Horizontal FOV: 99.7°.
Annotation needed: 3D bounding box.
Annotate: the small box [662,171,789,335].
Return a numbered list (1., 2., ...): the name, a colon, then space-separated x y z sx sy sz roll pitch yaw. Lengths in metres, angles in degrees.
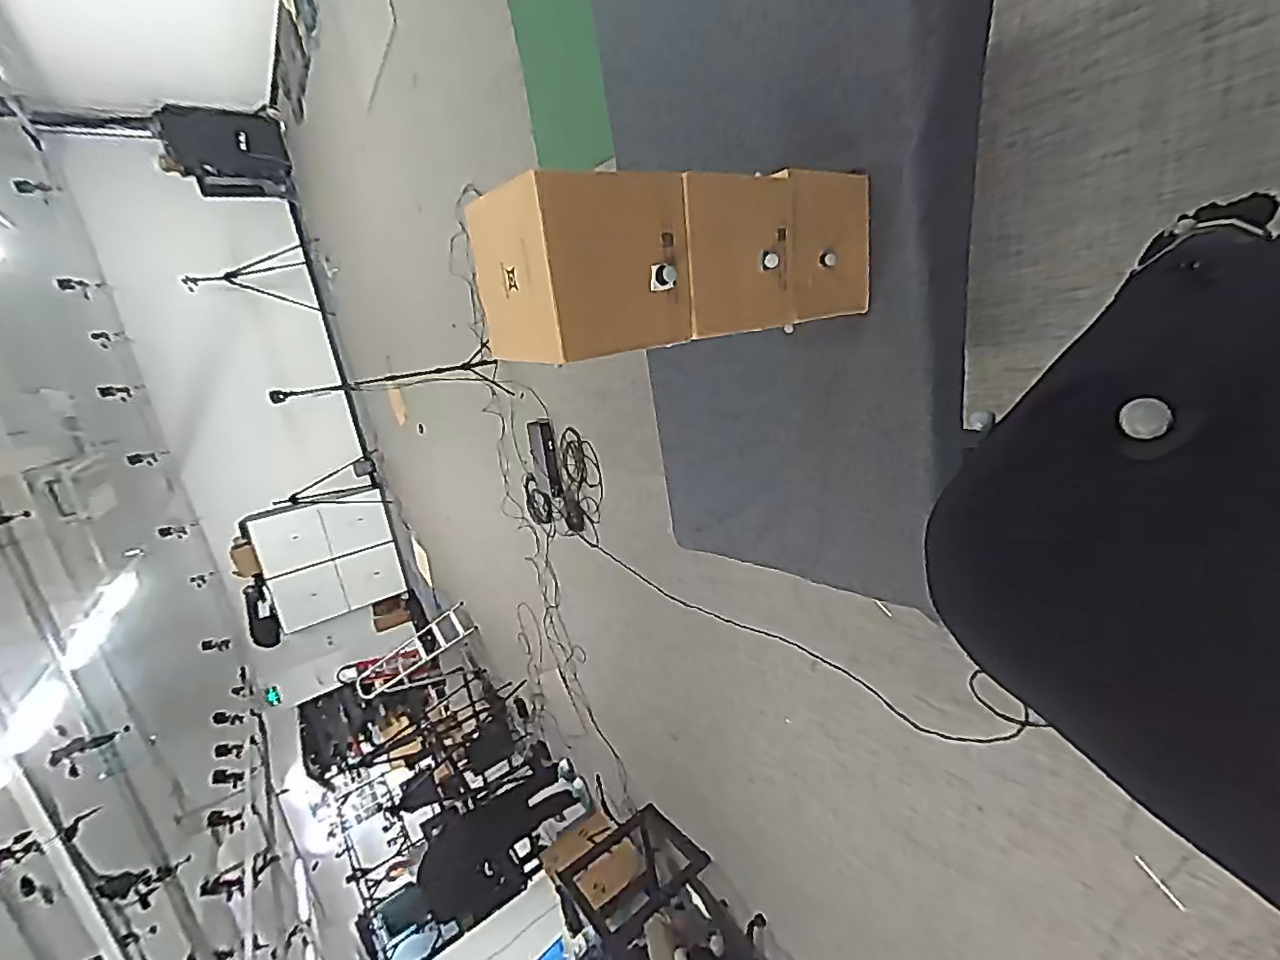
1. small box: 0.065 -0.273 0.684 0.179 0.176 0.168 16 119 54

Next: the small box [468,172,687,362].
1. small box: -0.066 -0.229 0.600 0.179 0.176 0.168 18 122 51

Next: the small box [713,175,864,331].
1. small box: 0.200 -0.317 0.768 0.168 0.176 0.179 15 119 53
